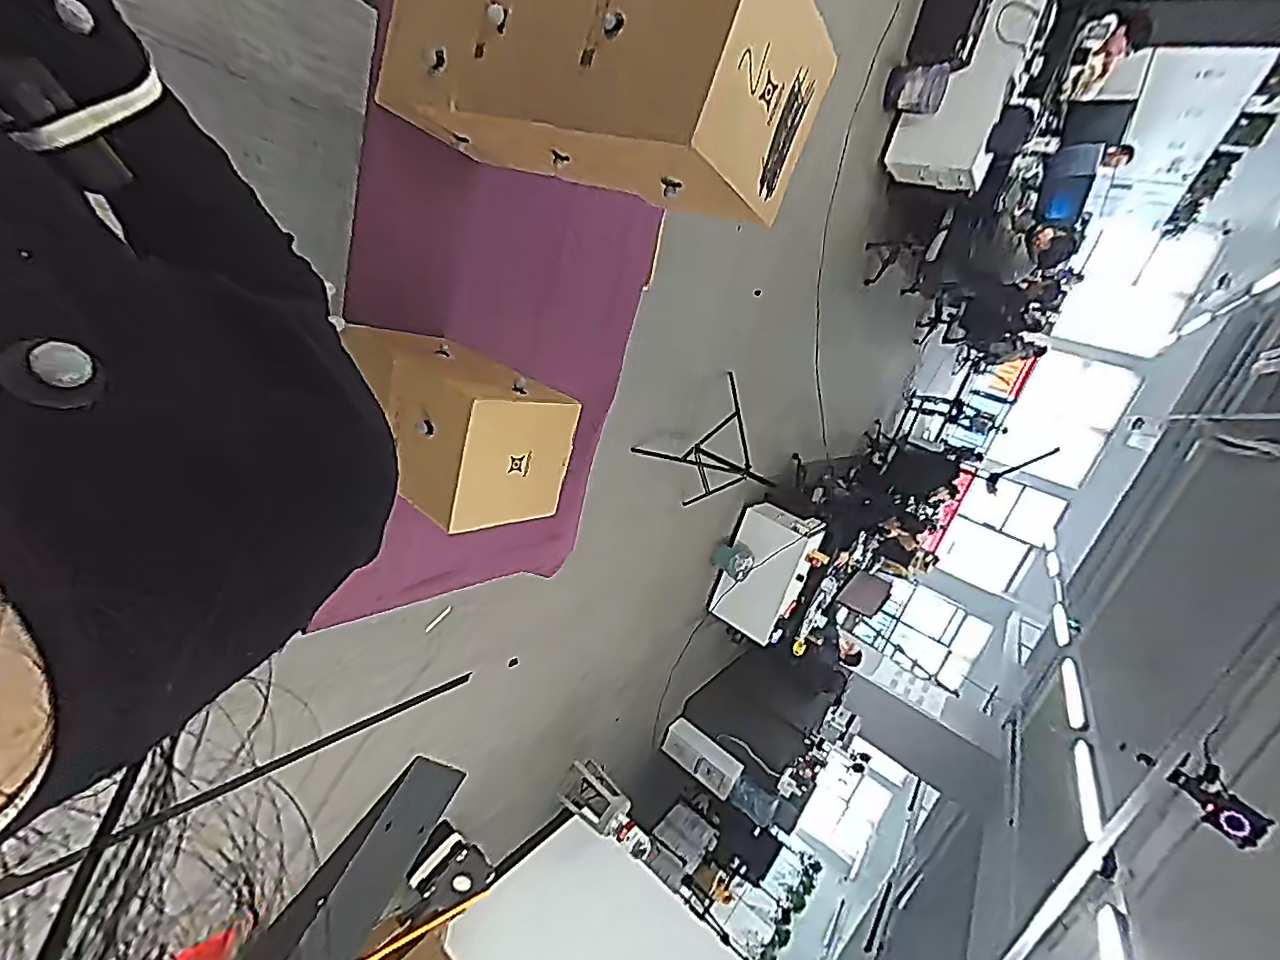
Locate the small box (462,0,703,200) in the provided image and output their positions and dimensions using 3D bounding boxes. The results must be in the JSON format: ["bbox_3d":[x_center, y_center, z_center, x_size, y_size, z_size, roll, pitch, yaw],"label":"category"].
[{"bbox_3d":[-0.064,-0.443,0.603,0.179,0.176,0.168,-2,116,-55],"label":"small box"}]

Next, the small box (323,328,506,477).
[{"bbox_3d":[-0.331,-0.115,0.796,0.179,0.176,0.168,-6,118,-53],"label":"small box"}]

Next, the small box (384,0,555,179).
[{"bbox_3d":[-0.192,-0.513,0.678,0.168,0.176,0.179,-2,116,-56],"label":"small box"}]

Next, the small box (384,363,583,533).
[{"bbox_3d":[-0.209,-0.049,0.711,0.179,0.176,0.168,-9,120,-54],"label":"small box"}]
